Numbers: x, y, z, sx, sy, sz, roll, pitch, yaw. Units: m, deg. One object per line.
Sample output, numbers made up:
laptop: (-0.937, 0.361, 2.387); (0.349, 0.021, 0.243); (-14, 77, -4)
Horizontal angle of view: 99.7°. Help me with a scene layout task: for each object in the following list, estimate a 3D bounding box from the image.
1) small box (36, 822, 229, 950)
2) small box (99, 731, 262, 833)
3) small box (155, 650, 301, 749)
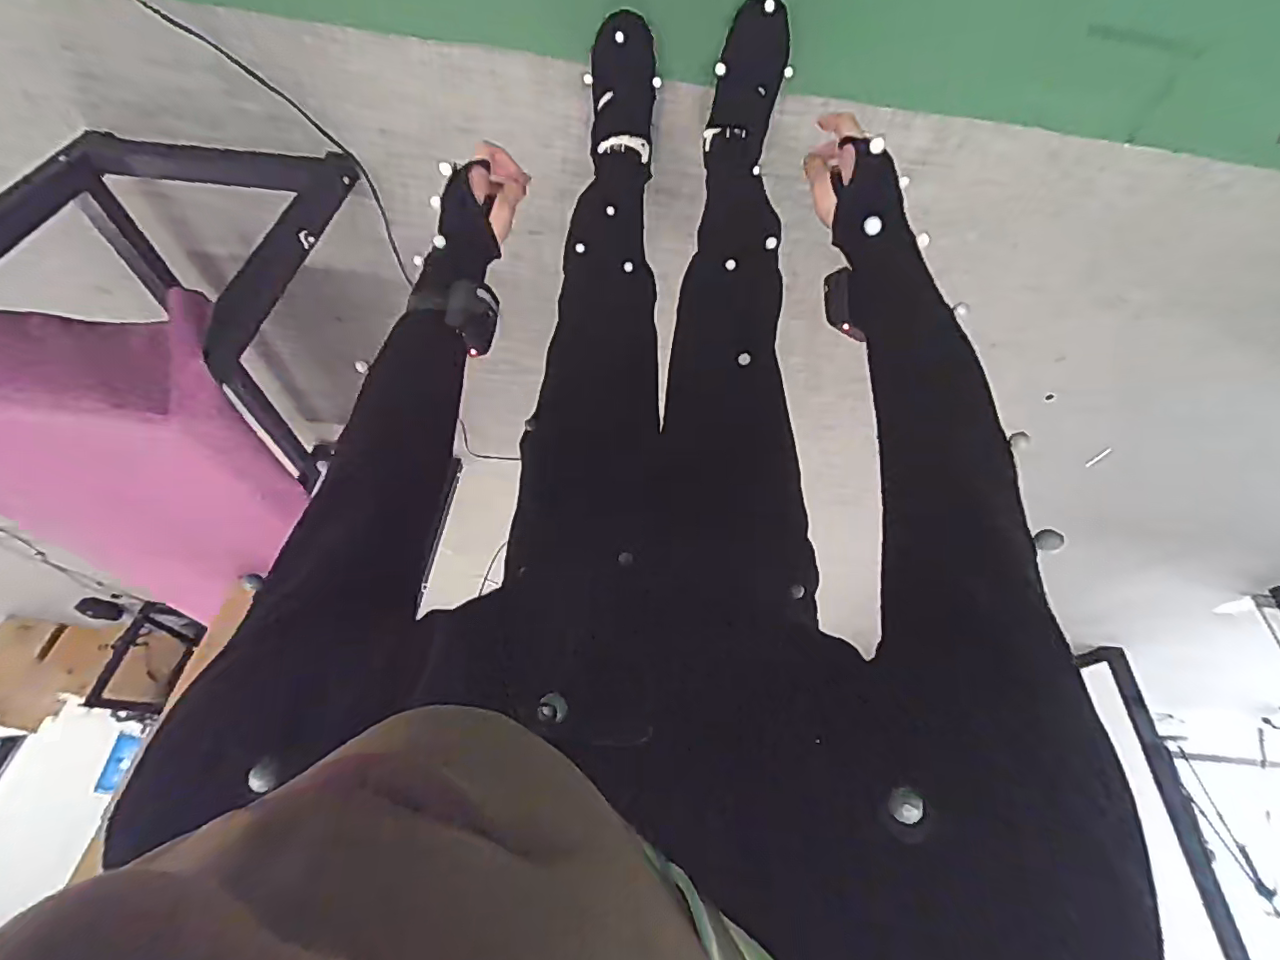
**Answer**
small box: (-0.940, 0.761, 1.027); (0.168, 0.176, 0.179); (6, 145, 0)
small box: (-0.929, 0.625, 1.122); (0.179, 0.176, 0.168); (6, 145, 0)
small box: (-0.908, 0.492, 1.213); (0.168, 0.176, 0.179); (7, 146, -1)
